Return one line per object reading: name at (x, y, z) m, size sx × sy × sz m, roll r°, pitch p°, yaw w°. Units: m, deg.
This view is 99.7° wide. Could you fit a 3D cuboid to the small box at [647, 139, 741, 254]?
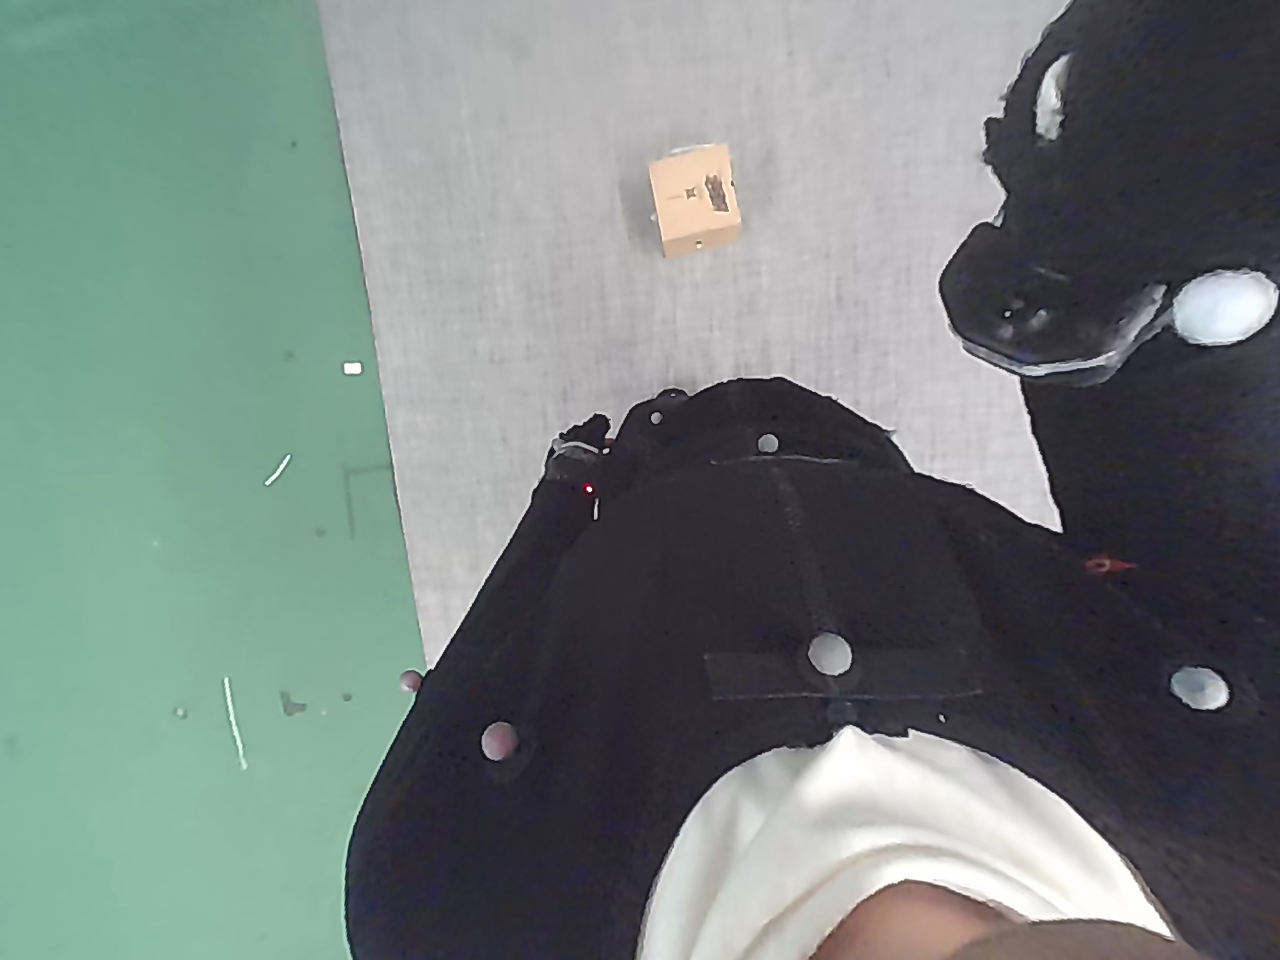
small box at (0.120, -0.642, 1.245) m, size 0.179 × 0.176 × 0.168 m, roll -14°, pitch 99°, yaw 7°
